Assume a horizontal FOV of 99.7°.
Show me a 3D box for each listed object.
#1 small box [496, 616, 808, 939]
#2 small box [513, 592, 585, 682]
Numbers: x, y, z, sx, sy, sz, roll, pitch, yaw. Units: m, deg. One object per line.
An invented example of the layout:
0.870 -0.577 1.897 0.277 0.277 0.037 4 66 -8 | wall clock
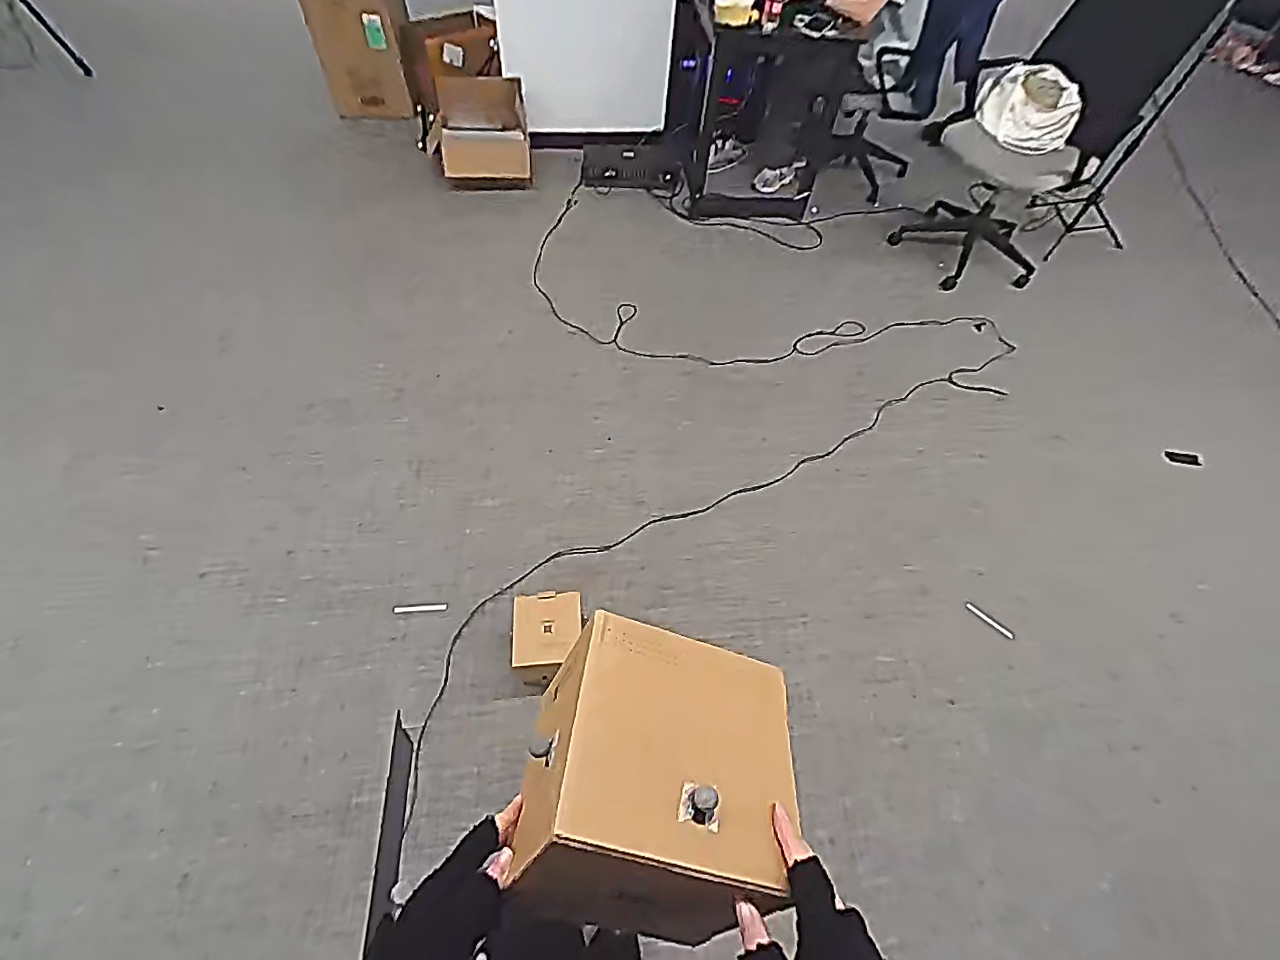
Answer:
0.006 0.238 0.444 0.179 0.168 0.176 21 37 -11 | small box
-0.225 0.400 1.370 0.168 0.176 0.179 -3 57 -5 | small box
